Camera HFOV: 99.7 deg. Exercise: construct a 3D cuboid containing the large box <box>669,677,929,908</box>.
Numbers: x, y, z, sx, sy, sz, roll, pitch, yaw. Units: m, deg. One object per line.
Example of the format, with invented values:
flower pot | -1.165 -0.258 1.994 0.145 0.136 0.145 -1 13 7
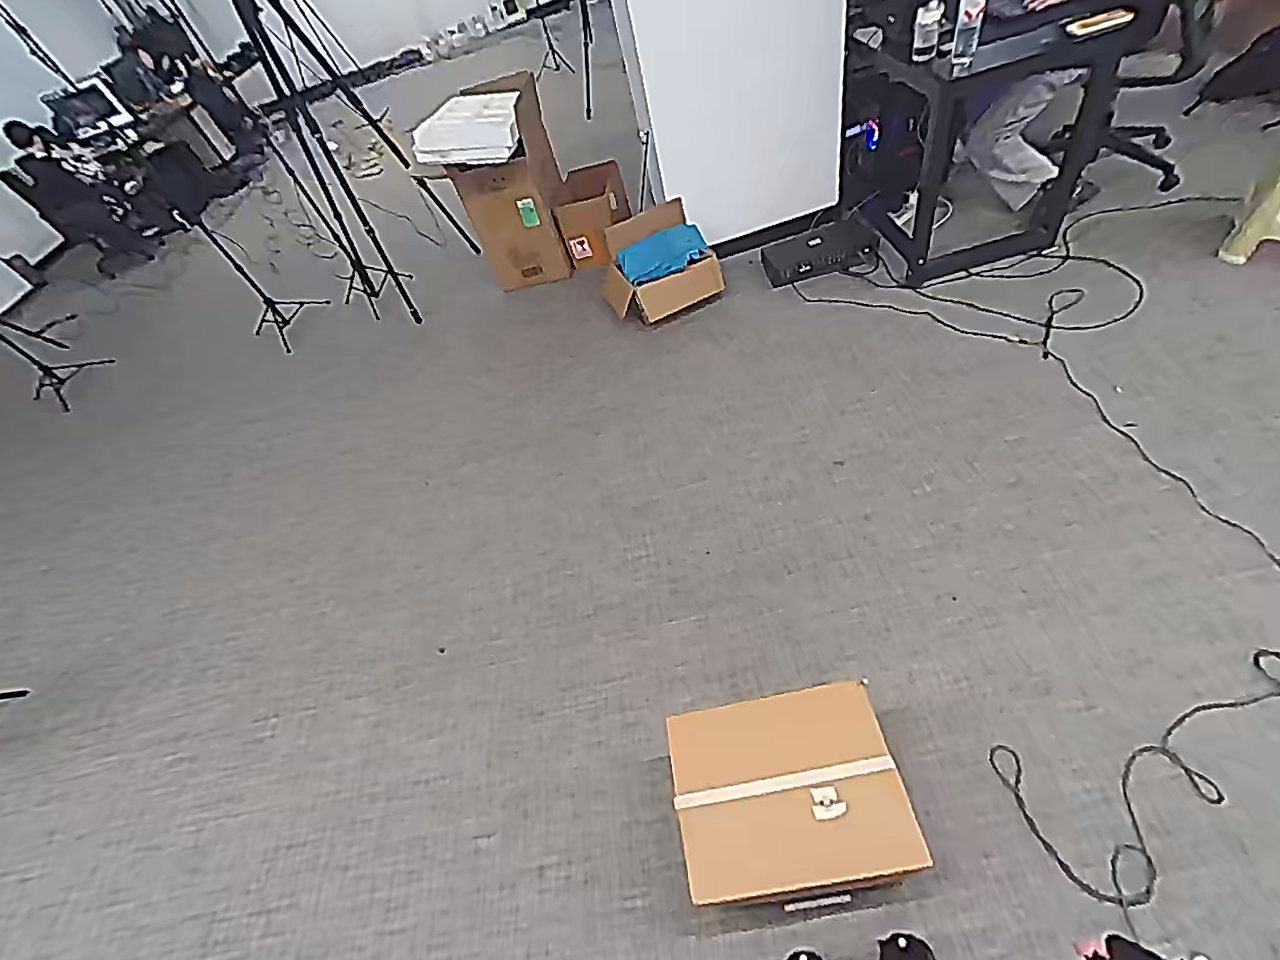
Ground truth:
large box | 0.302 0.650 1.114 0.408 0.320 0.320 -14 49 5
